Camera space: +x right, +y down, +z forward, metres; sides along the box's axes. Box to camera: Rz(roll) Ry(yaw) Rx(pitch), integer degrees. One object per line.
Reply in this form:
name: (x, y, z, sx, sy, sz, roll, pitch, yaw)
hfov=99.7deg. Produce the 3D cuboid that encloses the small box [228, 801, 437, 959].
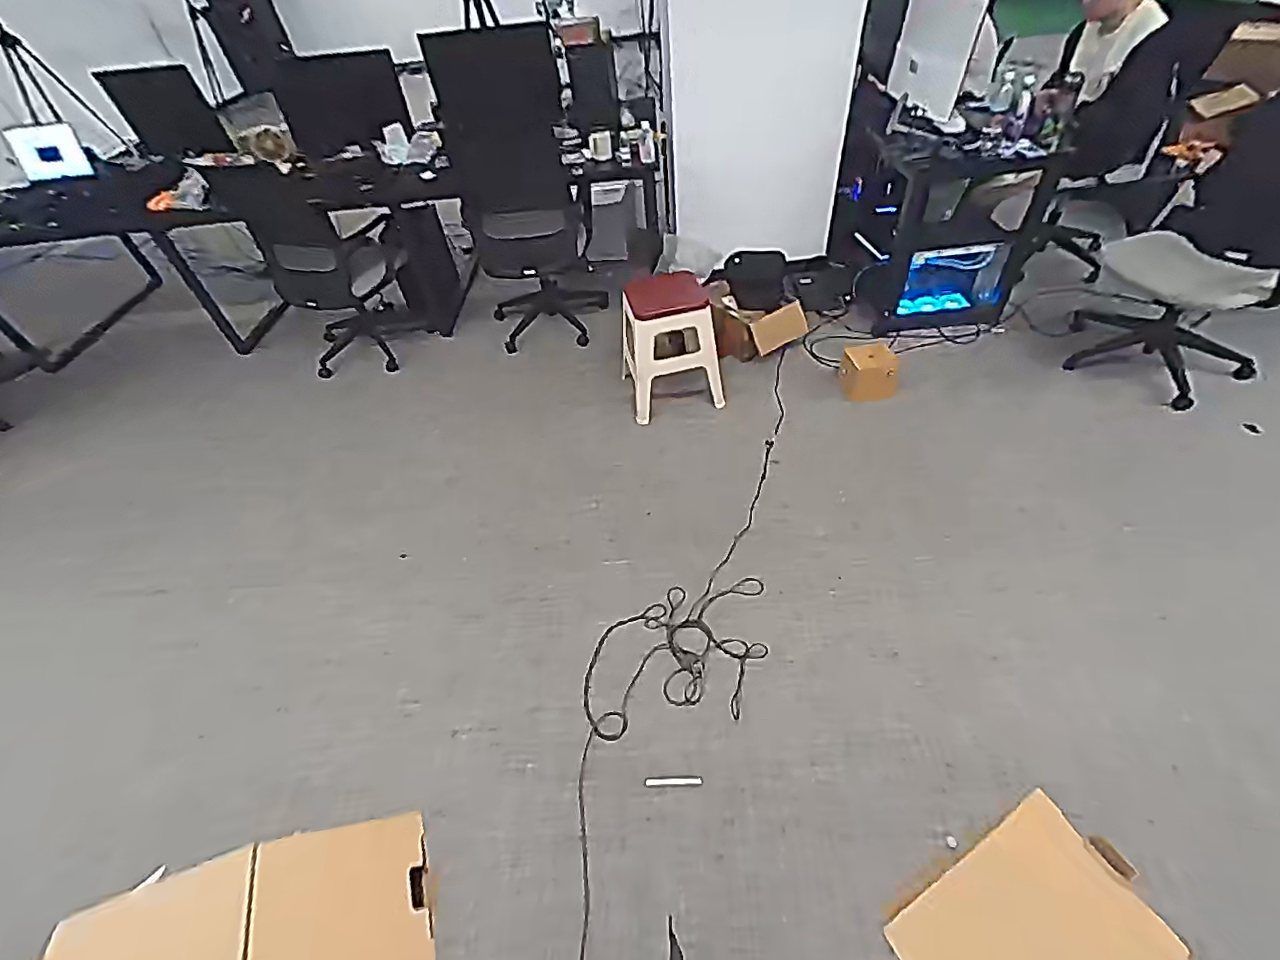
small box: (-0.348, 0.497, 0.605, 0.179, 0.176, 0.168, 12, 34, -36)
